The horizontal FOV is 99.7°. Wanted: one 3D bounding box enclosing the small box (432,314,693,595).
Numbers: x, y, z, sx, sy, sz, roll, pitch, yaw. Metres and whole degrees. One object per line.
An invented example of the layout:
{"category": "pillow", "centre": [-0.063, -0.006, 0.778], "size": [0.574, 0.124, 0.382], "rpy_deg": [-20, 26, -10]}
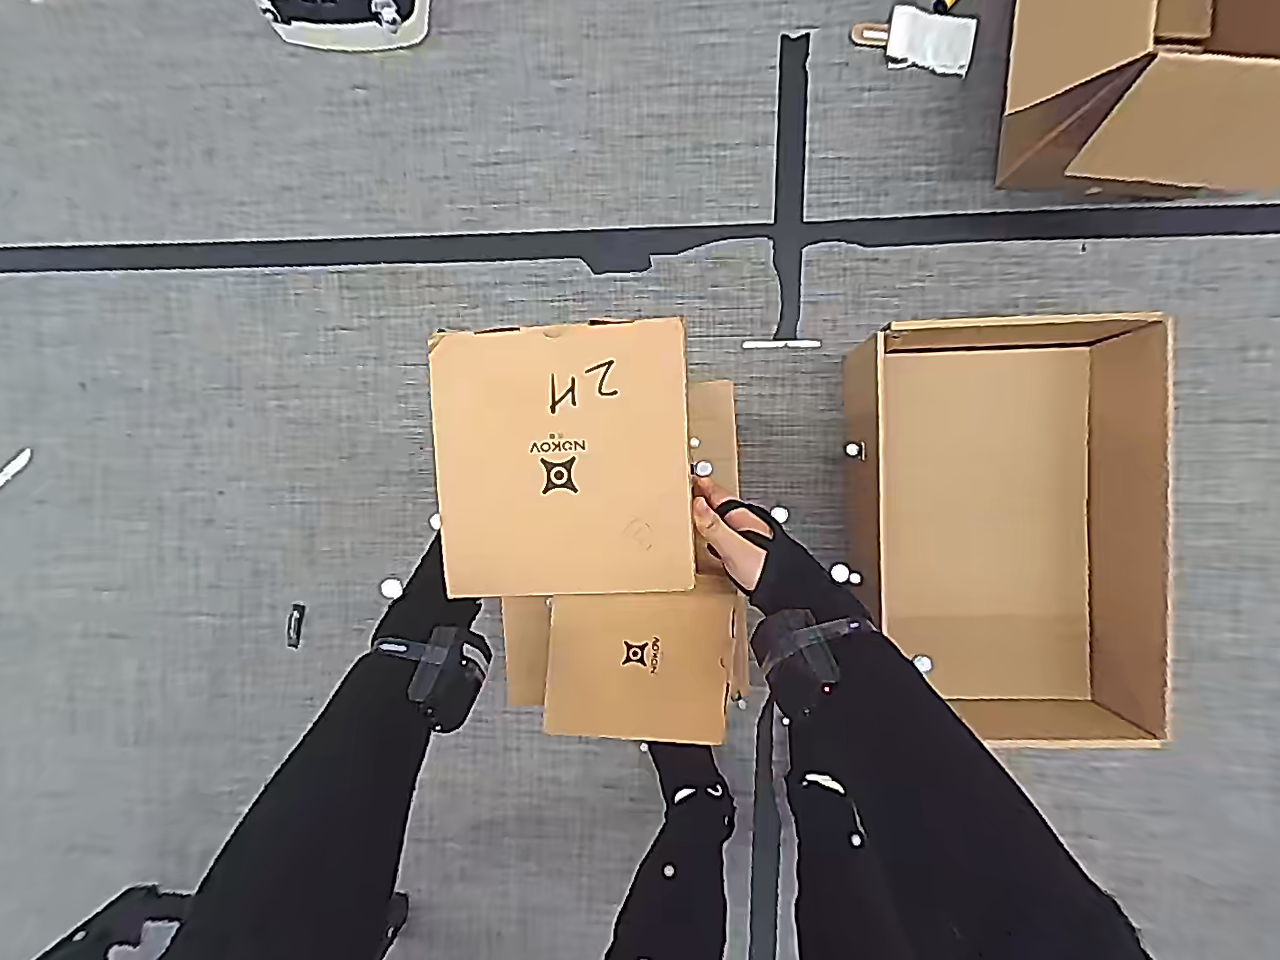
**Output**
{"category": "small box", "centre": [-0.042, -0.019, 0.423], "size": [0.168, 0.176, 0.179], "rpy_deg": [-2, 93, 4]}

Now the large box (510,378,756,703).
{"category": "large box", "centre": [-0.012, 0.074, 0.834], "size": [0.320, 0.320, 0.408], "rpy_deg": [-4, 92, 5]}
